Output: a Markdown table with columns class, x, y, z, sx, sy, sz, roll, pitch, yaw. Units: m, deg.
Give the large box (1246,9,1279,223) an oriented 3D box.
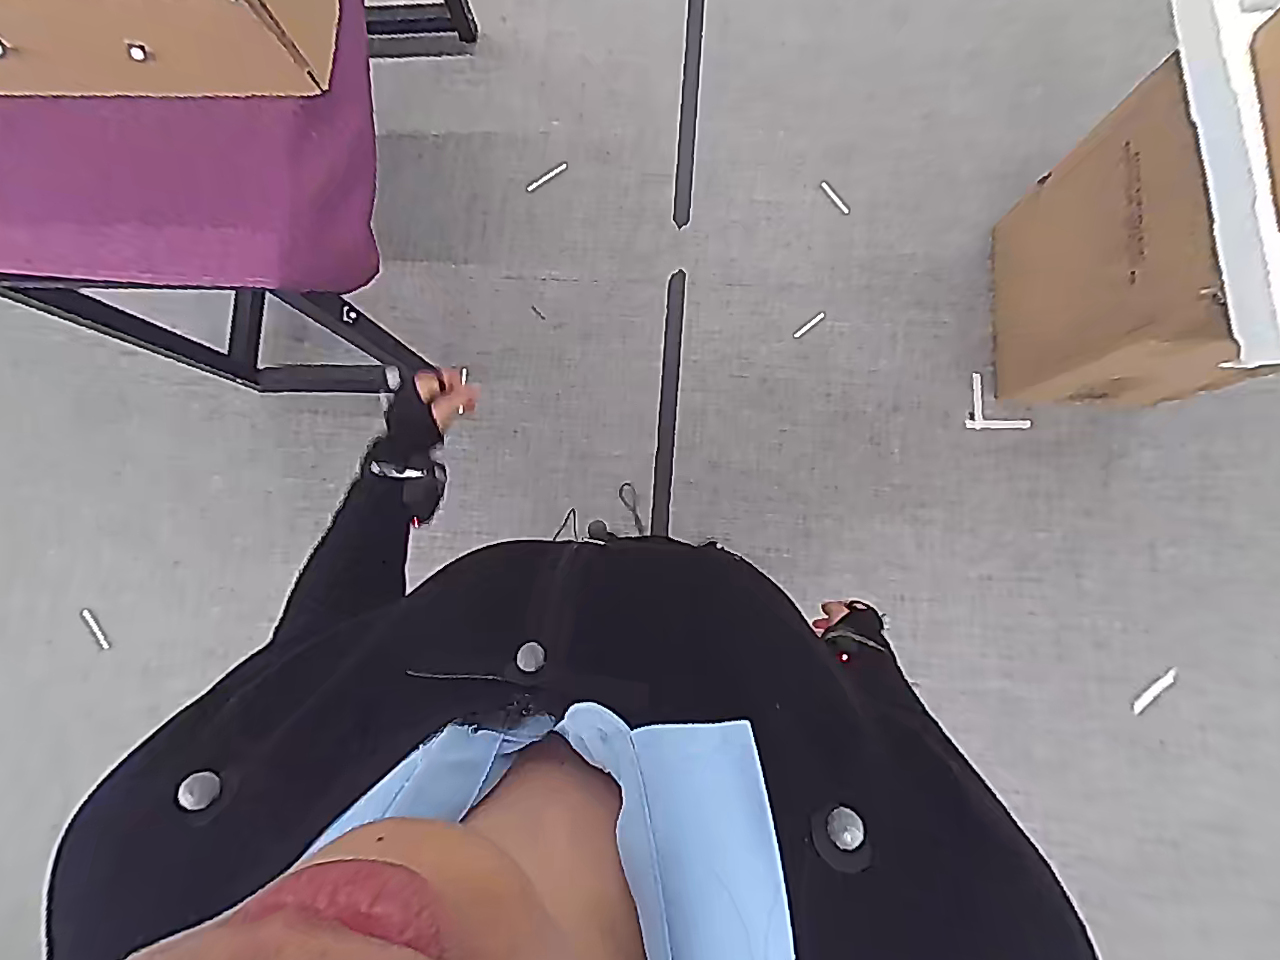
| class | x | y | z | sx | sy | sz | roll | pitch | yaw |
| --- | --- | --- | --- | --- | --- | --- | --- | --- | --- |
| large box | 1.157 | -0.567 | 0.724 | 0.320 | 0.320 | 0.408 | -1 | 82 | 2 |
